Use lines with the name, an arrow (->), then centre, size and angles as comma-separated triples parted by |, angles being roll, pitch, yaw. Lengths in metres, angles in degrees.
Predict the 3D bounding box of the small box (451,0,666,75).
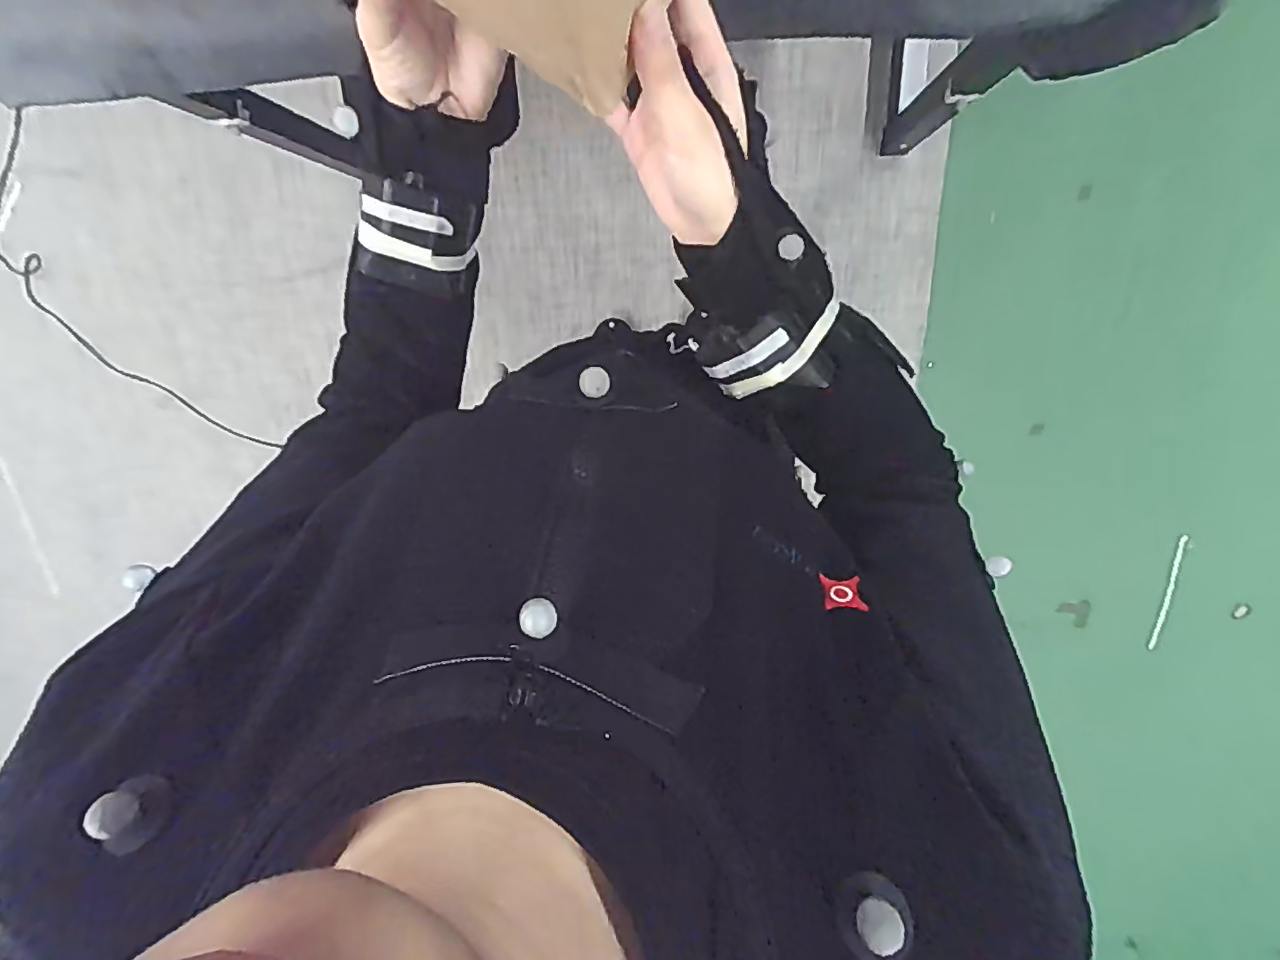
small box -> -0.046, -0.256, 0.145 | 0.179, 0.176, 0.168 | 32, 107, -4
